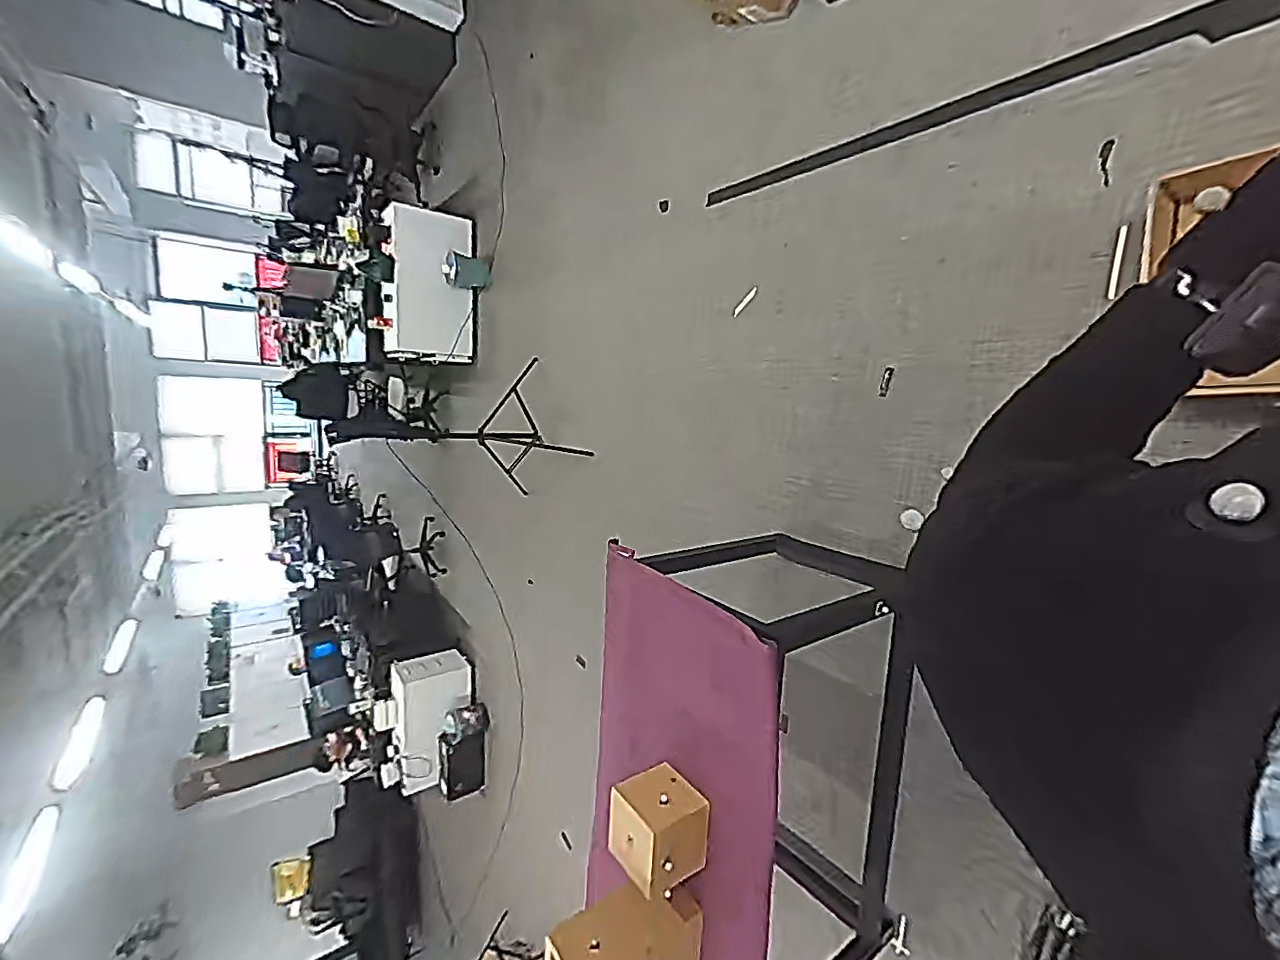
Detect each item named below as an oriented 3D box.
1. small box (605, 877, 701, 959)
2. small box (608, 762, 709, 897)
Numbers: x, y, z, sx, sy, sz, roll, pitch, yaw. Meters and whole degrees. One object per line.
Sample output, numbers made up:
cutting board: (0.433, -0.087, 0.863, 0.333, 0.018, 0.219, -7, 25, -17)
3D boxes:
small box: (0.031, 1.086, 1.307, 0.168, 0.176, 0.179, 15, 104, 52)
small box: (0.044, 0.804, 1.268, 0.168, 0.176, 0.179, 17, 107, 52)
